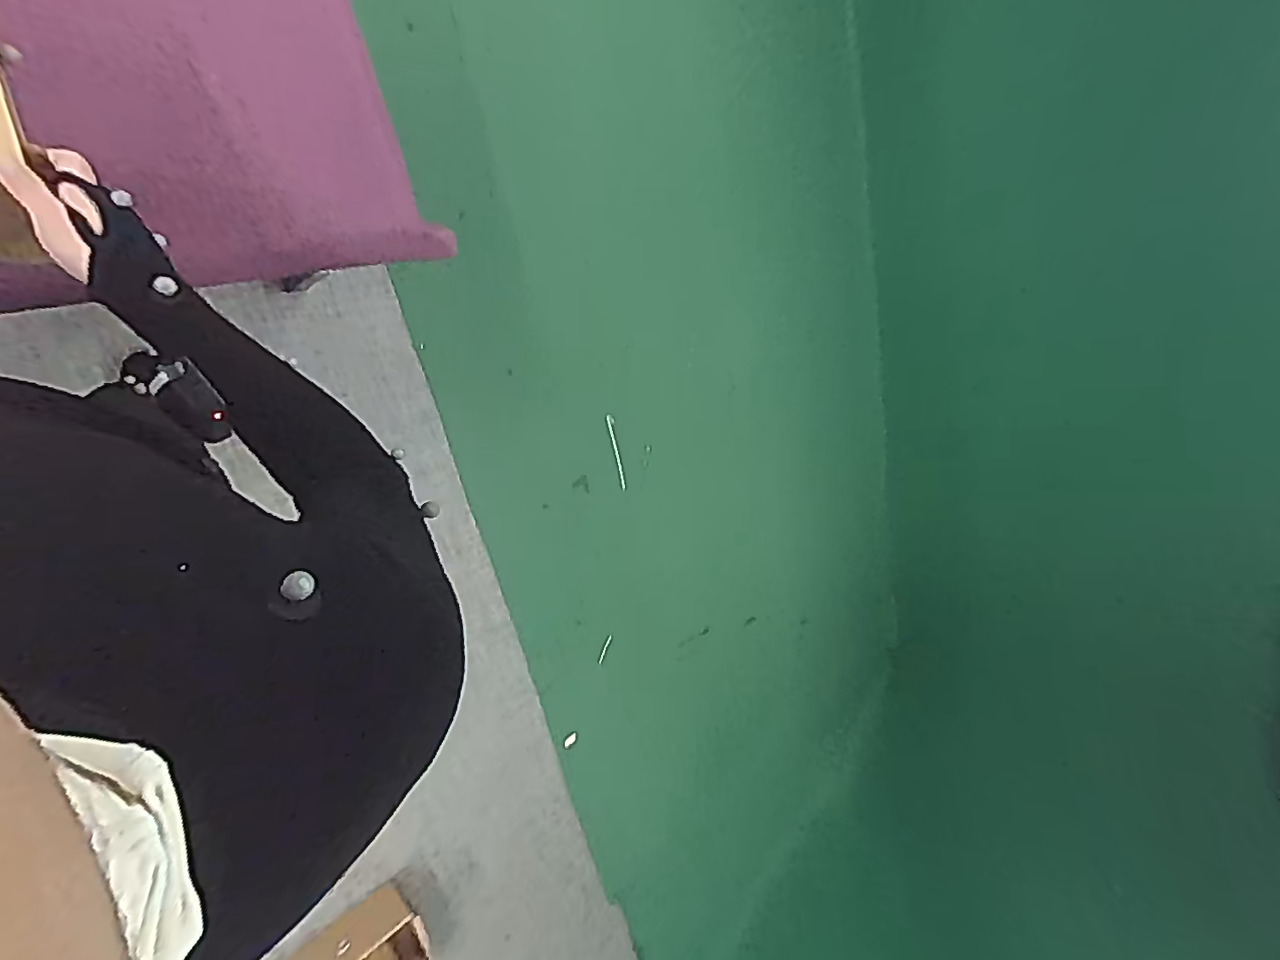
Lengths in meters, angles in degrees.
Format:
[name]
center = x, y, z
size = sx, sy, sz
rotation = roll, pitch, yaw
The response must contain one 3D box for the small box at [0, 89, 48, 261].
[small box]
center = -0.619, -0.298, 0.425
size = 0.168, 0.176, 0.179
rotation = -17, 93, -40
